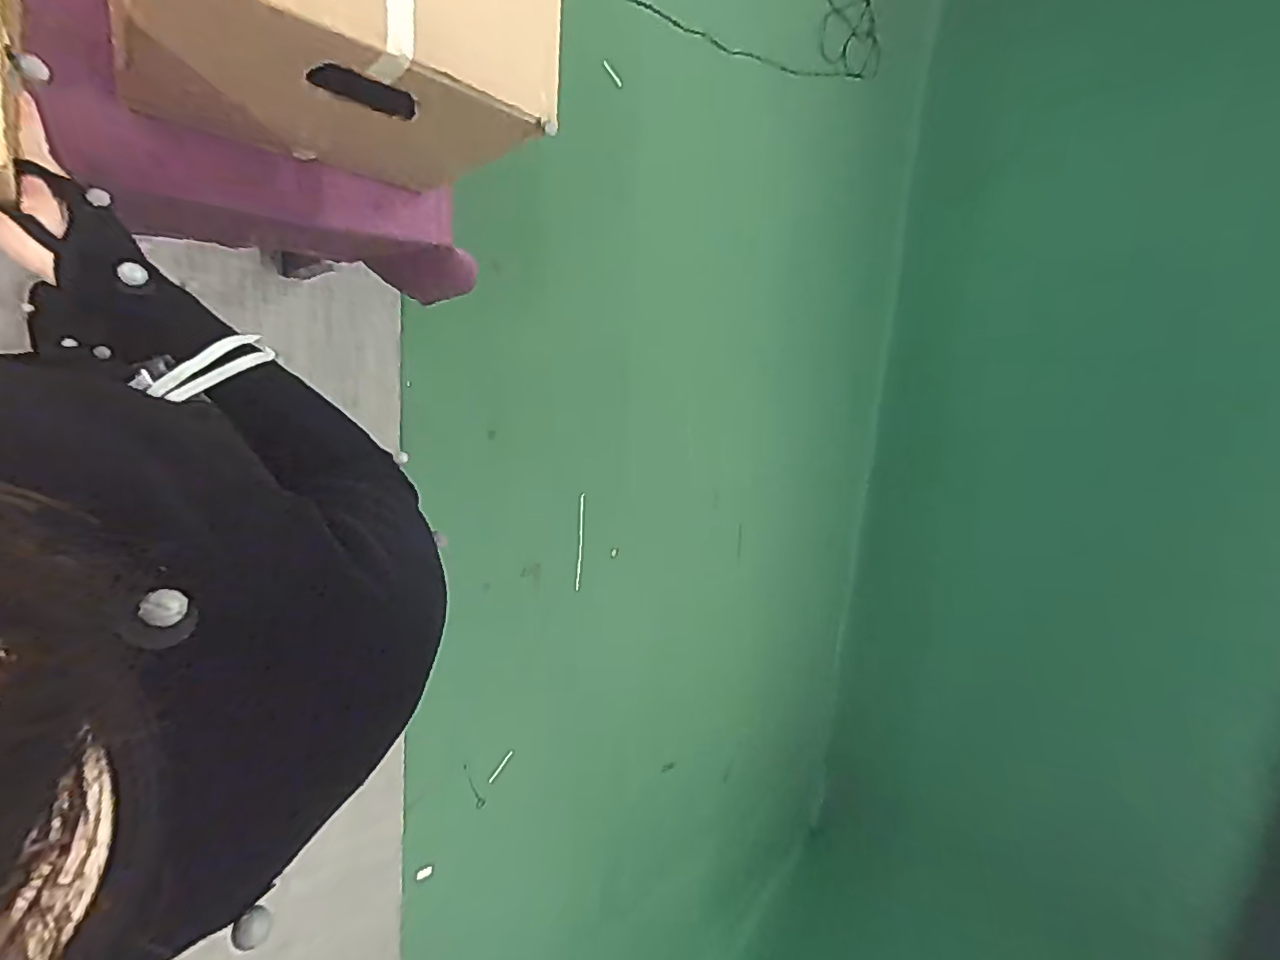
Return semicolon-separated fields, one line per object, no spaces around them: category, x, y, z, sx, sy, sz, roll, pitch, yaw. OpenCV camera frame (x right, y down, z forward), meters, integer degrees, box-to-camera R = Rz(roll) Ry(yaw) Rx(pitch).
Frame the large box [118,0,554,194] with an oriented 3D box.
large box;-0.294;-0.555;0.516;0.320;0.320;0.408;-6;104;-44

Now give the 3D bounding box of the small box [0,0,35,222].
small box;-0.488;-0.282;0.321;0.168;0.176;0.179;-2;98;-46
